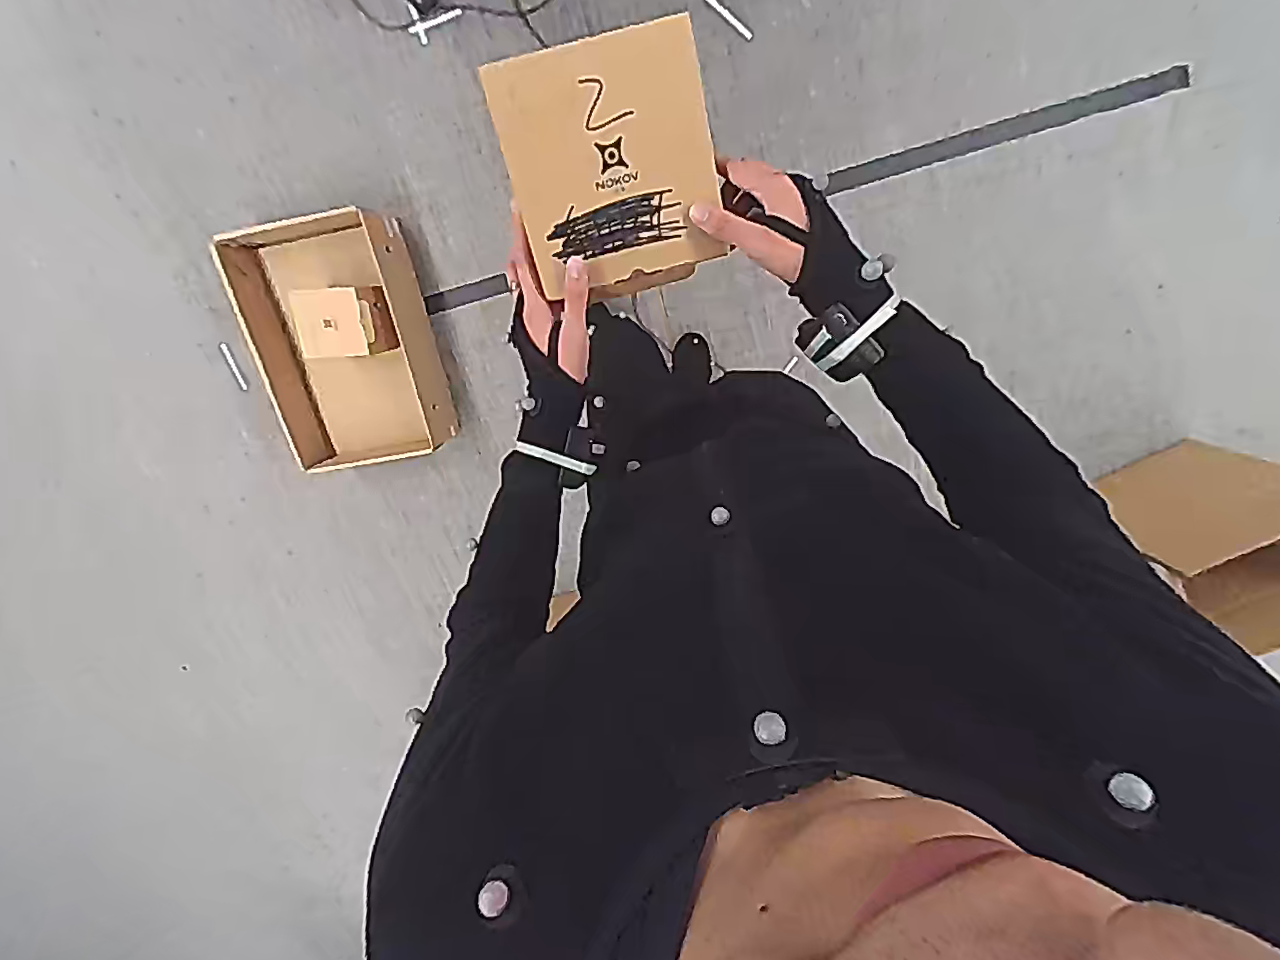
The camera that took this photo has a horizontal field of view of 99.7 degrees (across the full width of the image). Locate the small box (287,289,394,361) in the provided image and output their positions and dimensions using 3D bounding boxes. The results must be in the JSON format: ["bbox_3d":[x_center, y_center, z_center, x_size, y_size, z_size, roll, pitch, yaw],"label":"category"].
[{"bbox_3d":[-0.764,-0.405,1.405,0.179,0.176,0.168,-2,110,3],"label":"small box"}]
